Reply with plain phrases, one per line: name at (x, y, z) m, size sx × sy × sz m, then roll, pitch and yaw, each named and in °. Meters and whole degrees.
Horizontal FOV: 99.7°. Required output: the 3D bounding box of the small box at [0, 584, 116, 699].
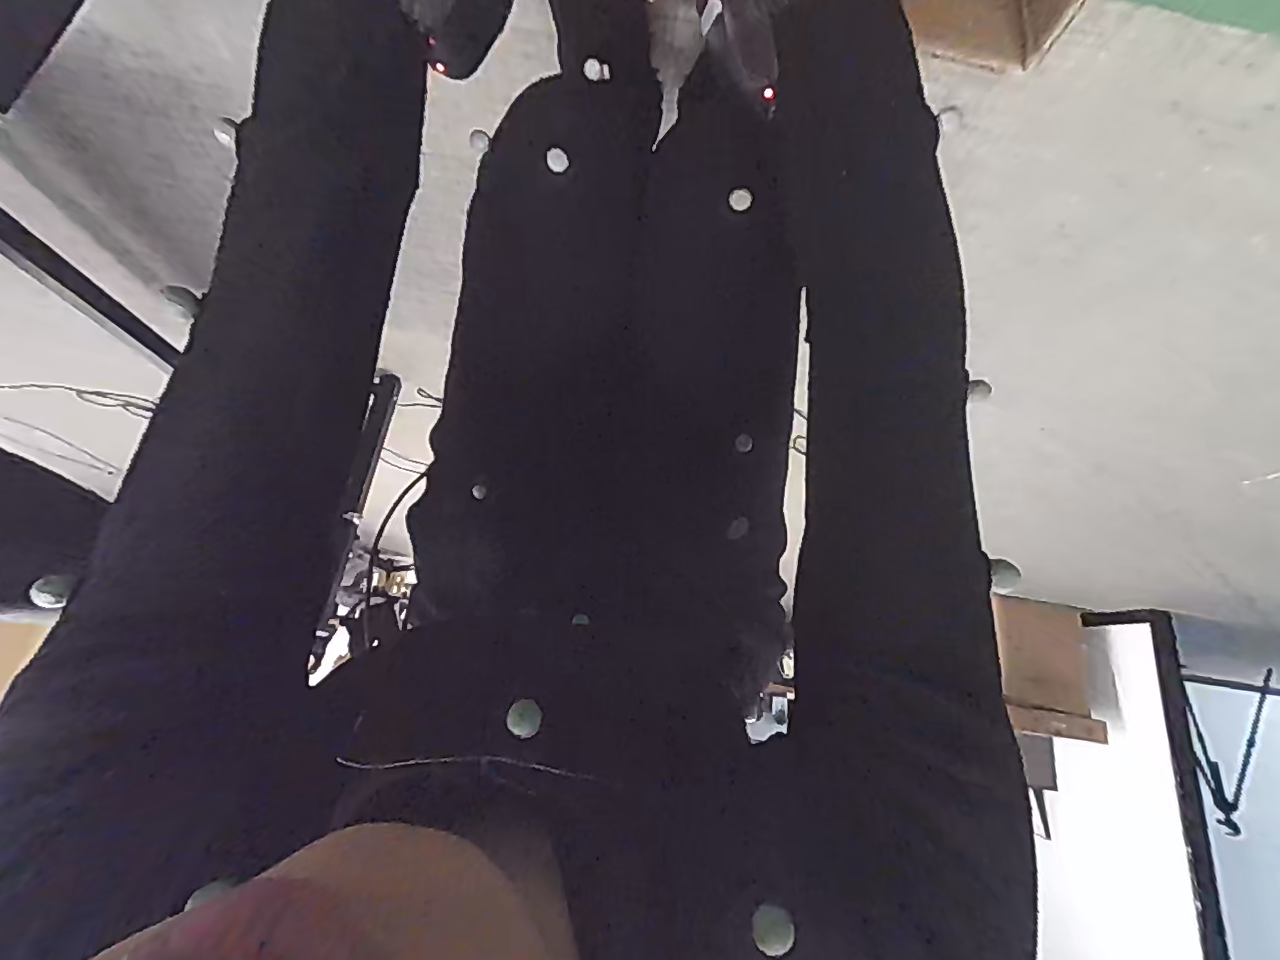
small box at (-1.079, 0.271, 0.929) m, size 0.179 × 0.176 × 0.168 m, roll 10°, pitch 162°, yaw -7°
